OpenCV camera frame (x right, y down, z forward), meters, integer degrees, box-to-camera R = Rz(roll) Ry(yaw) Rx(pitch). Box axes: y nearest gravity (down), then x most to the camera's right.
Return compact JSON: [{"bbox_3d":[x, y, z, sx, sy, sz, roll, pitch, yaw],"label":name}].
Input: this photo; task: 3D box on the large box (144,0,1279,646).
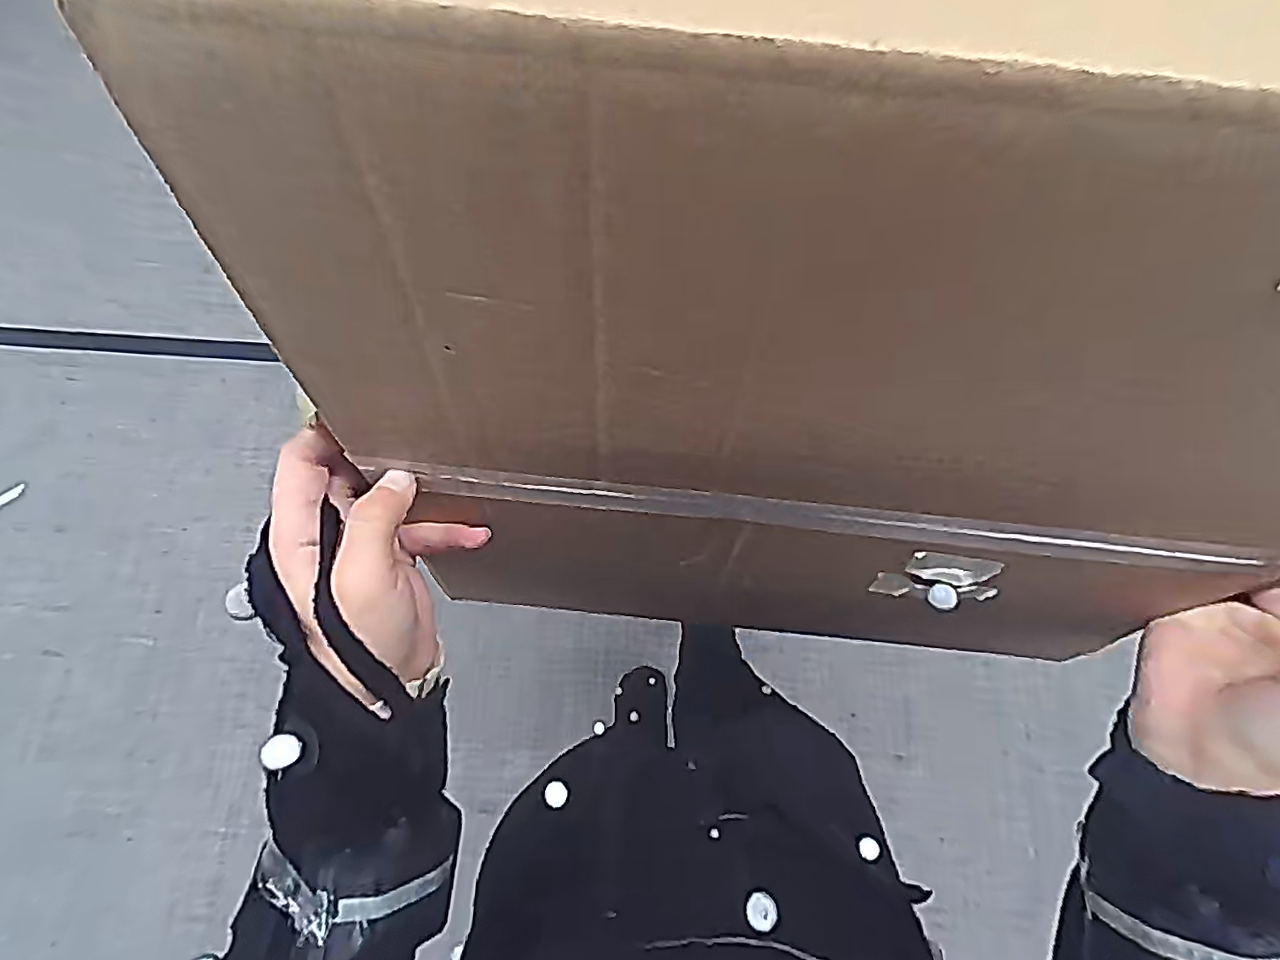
[{"bbox_3d":[0.089,-0.113,0.320,0.408,0.320,0.320,5,57,0],"label":"large box"}]
